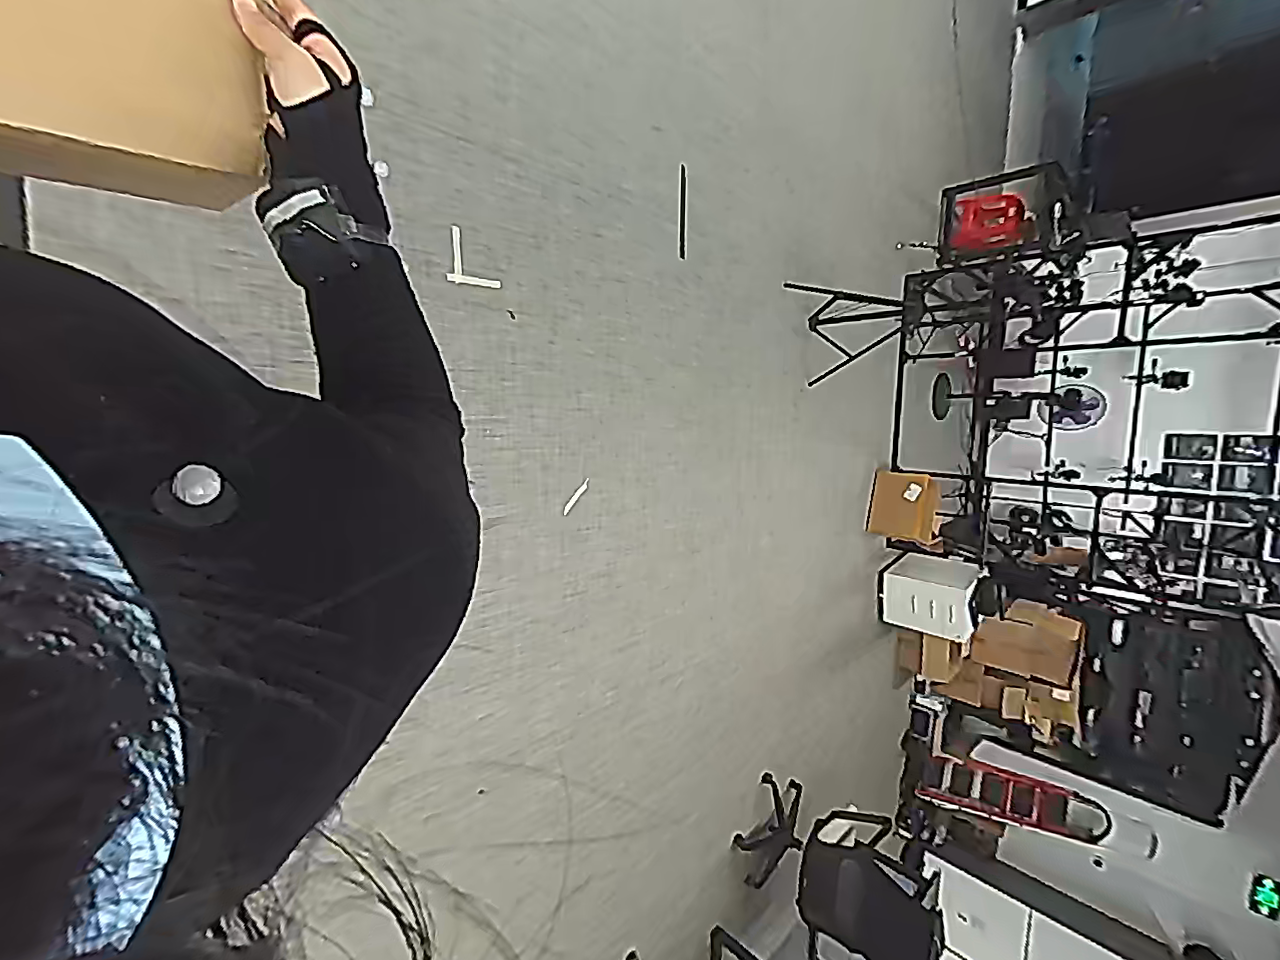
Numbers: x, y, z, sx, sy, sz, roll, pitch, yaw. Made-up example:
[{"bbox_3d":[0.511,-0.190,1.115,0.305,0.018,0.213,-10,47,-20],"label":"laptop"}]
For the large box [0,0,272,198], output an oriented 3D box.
[{"bbox_3d":[-0.532,-0.411,0.372,0.408,0.320,0.320,-9,111,-42],"label":"large box"}]
